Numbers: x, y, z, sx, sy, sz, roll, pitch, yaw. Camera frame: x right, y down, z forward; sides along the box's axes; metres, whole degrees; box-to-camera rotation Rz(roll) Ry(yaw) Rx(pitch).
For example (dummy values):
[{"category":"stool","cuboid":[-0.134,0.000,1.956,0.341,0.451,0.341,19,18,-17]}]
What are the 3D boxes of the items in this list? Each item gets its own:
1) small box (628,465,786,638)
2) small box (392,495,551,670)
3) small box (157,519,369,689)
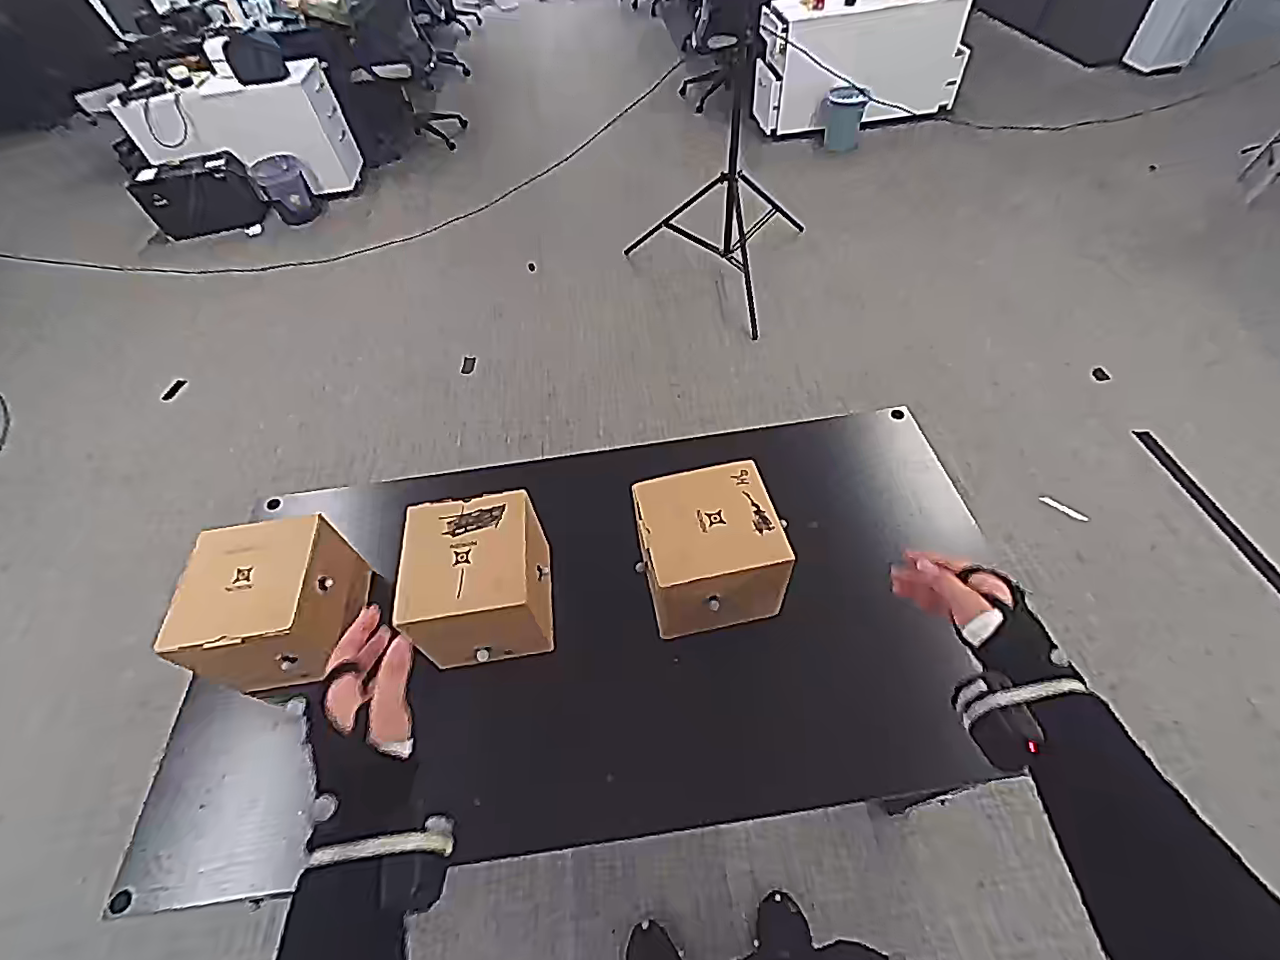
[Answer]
[{"category":"small box","cuboid":[0.090,0.107,0.771,0.179,0.176,0.168,-12,53,-3]},{"category":"small box","cuboid":[-0.225,0.147,0.767,0.168,0.176,0.179,-9,53,-2]},{"category":"small box","cuboid":[-0.510,0.182,0.767,0.168,0.176,0.179,-9,52,-3]}]
